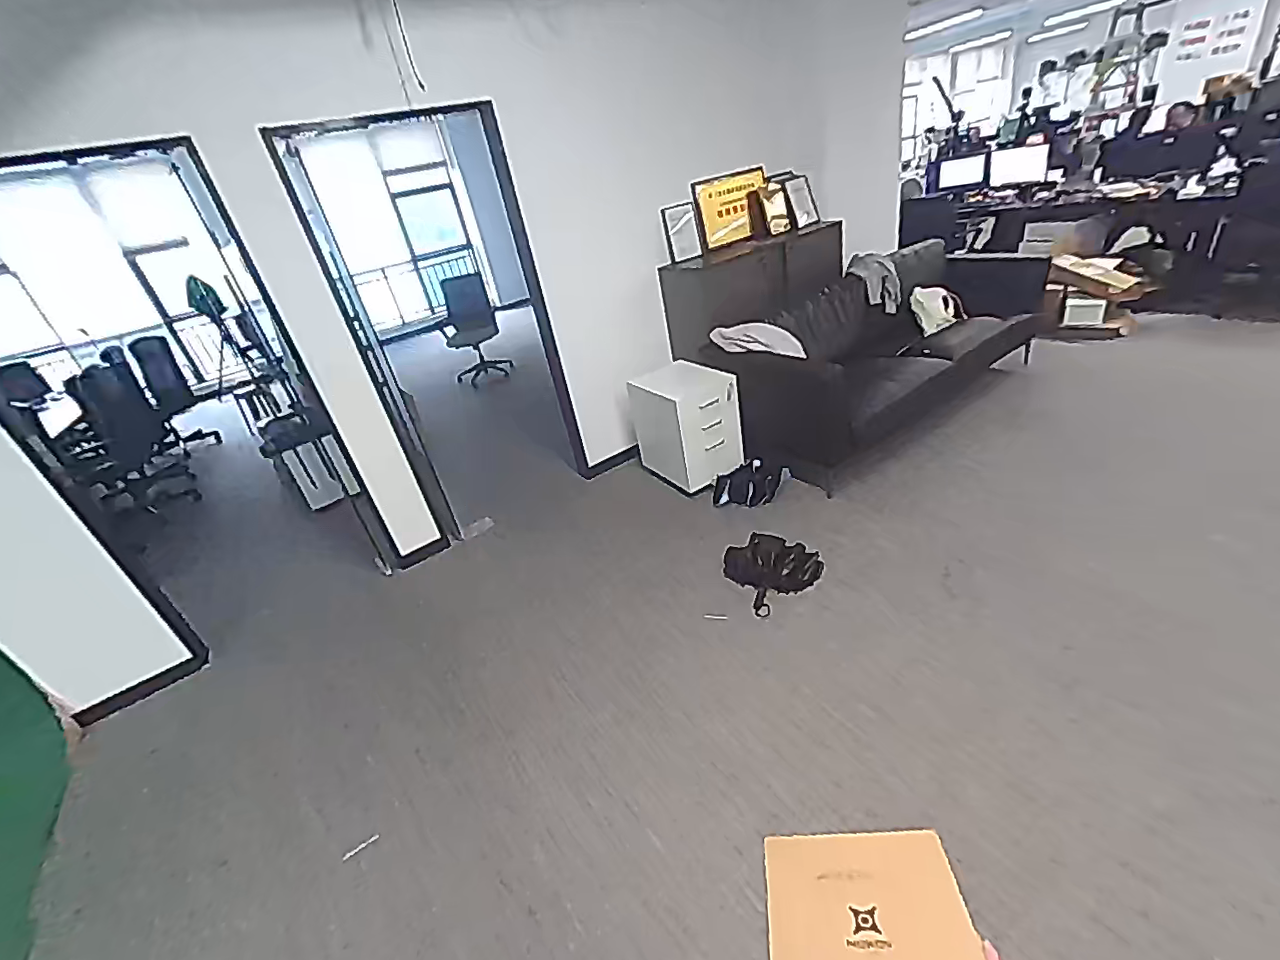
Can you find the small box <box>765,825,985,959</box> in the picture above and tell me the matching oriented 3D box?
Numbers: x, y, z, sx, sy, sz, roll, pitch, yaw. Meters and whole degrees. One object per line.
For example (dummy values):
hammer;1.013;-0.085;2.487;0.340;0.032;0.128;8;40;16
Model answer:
small box;0.208;0.445;0.473;0.168;0.176;0.179;-10;12;13
